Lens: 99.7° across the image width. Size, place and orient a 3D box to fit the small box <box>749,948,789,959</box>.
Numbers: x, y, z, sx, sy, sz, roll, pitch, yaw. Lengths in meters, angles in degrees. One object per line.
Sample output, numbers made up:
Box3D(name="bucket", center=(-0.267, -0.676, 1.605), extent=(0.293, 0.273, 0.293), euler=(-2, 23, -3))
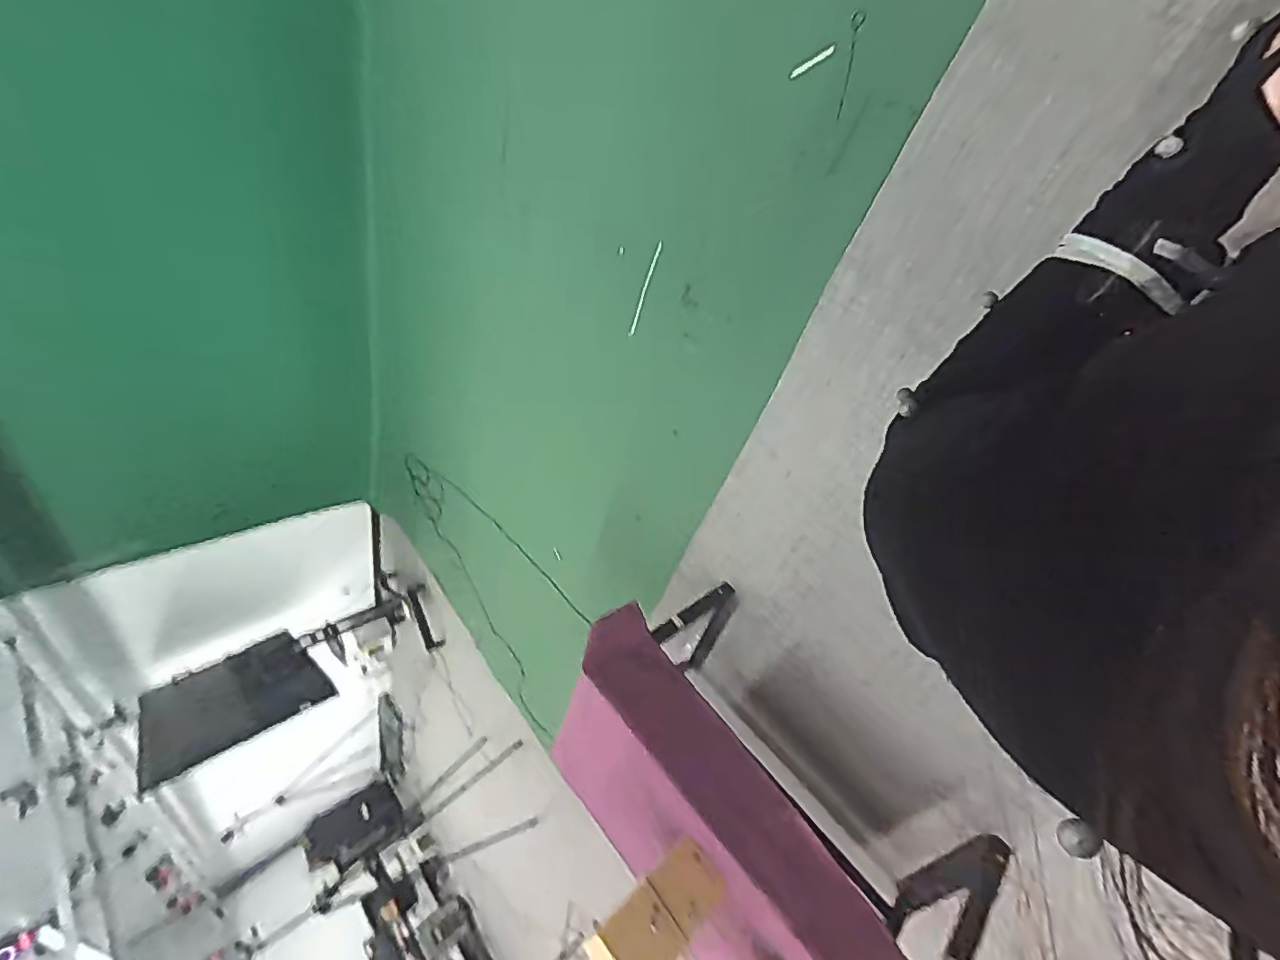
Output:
Box3D(name="small box", center=(0.314, 1.290, 1.312), extent=(0.168, 0.176, 0.179), euler=(45, 134, 26))

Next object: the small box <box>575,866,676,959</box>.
Box3D(name="small box", center=(-0.036, 1.126, 1.365), extent=(0.168, 0.176, 0.179), euler=(46, 135, 23))
